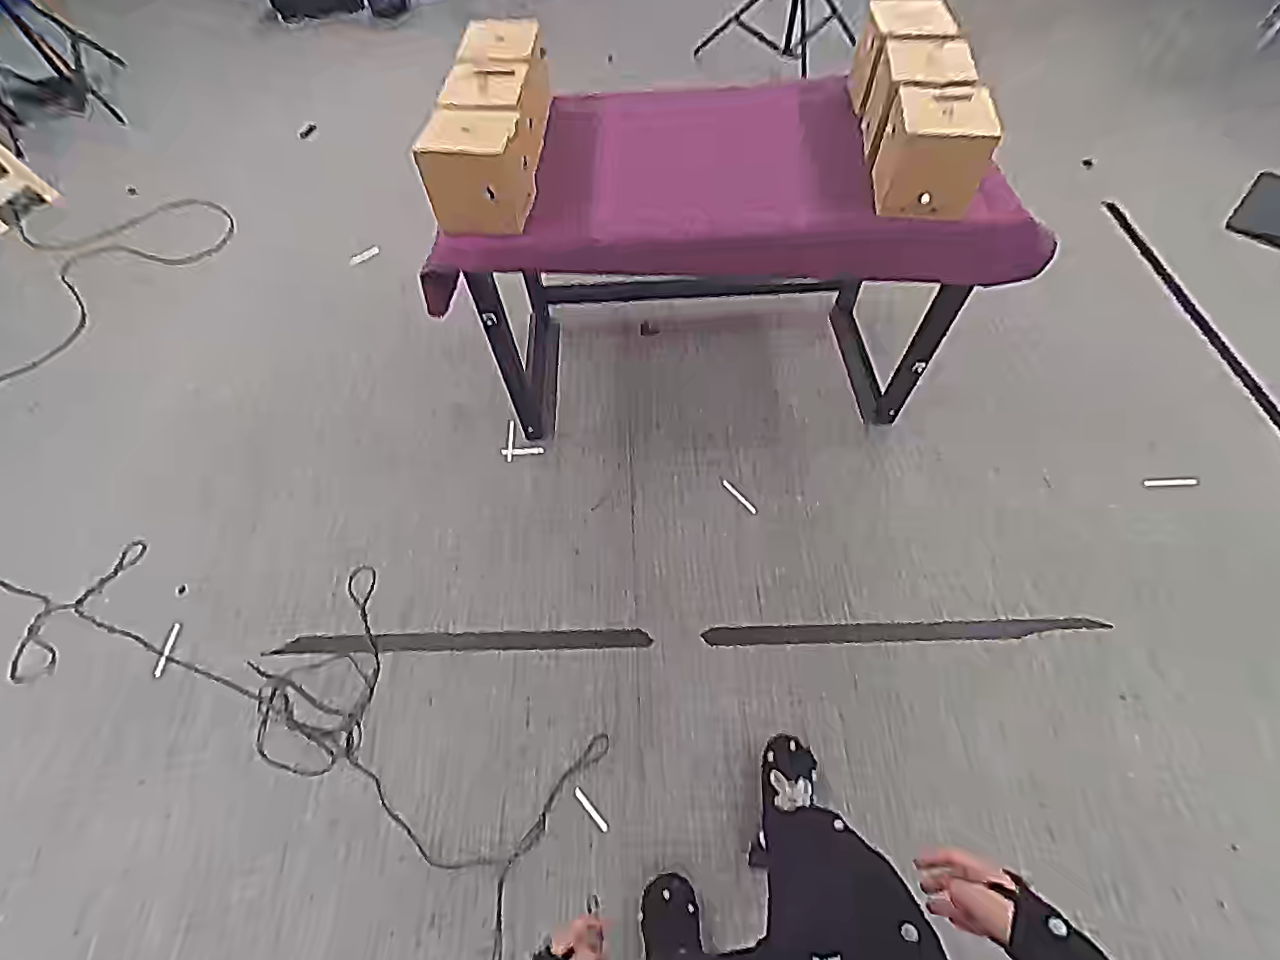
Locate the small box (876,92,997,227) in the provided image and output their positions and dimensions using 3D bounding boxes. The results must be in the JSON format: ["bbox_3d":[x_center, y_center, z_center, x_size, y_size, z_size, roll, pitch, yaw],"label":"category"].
[{"bbox_3d":[0.581,-0.641,1.084,0.168,0.176,0.179,7,64,10],"label":"small box"}]

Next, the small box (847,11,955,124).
[{"bbox_3d":[0.605,-0.973,1.280,0.168,0.176,0.179,2,59,2],"label":"small box"}]

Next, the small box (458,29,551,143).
[{"bbox_3d":[-0.313,-0.943,1.296,0.168,0.176,0.179,1,61,3],"label":"small box"}]
